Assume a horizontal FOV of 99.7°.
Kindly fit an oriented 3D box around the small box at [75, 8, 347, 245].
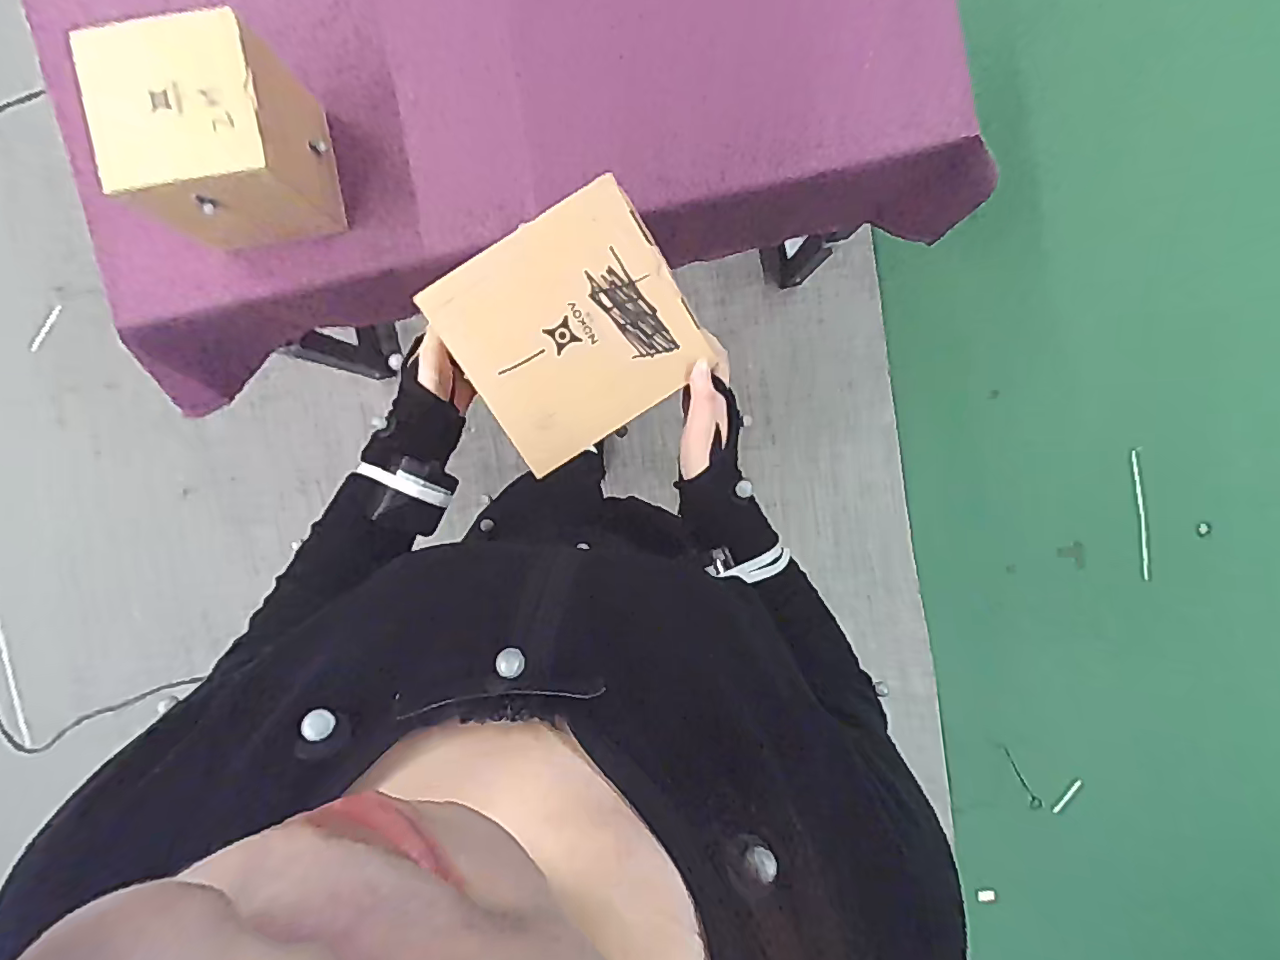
[{"bbox_3d":[-0.488,-0.399,0.643,0.179,0.176,0.168,-9,94,-1],"label":"small box"}]
